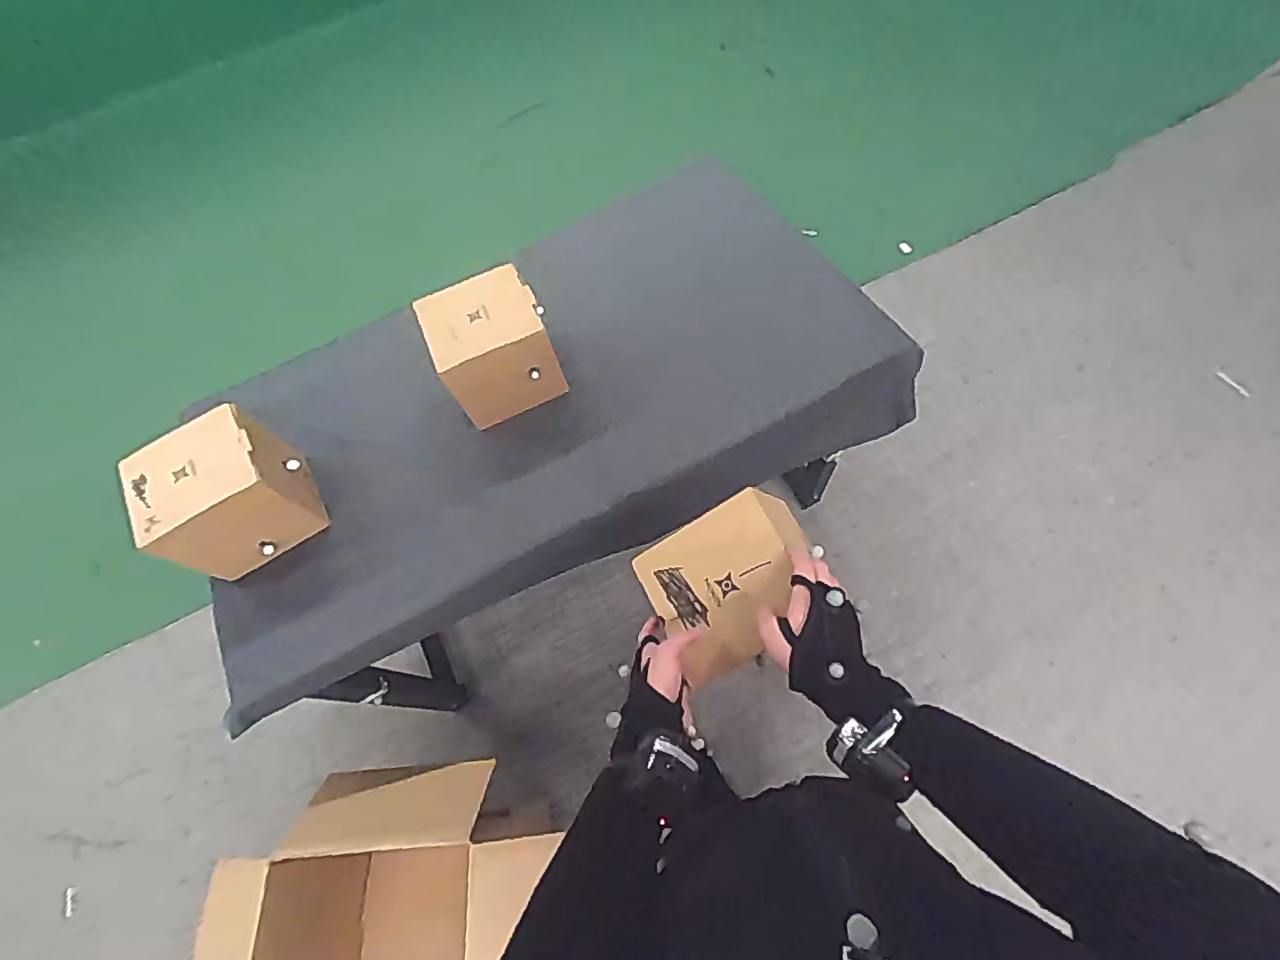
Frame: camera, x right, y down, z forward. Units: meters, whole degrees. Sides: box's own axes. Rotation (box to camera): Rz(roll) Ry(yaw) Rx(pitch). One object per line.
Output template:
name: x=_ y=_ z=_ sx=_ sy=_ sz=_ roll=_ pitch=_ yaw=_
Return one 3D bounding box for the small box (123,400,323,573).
small box: x=-0.627 y=0.016 z=0.837 sx=0.179 sy=0.176 sz=0.168 roll=-32 pitch=65 yaw=-10

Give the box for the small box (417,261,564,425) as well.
small box: x=-0.240 y=-0.224 z=0.911 sx=0.179 sy=0.176 sz=0.168 roll=-26 pitch=63 yaw=-5

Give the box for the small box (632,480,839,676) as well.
small box: x=0.125 y=0.122 z=0.677 sx=0.179 sy=0.176 sz=0.168 roll=-33 pitch=69 yaw=19
